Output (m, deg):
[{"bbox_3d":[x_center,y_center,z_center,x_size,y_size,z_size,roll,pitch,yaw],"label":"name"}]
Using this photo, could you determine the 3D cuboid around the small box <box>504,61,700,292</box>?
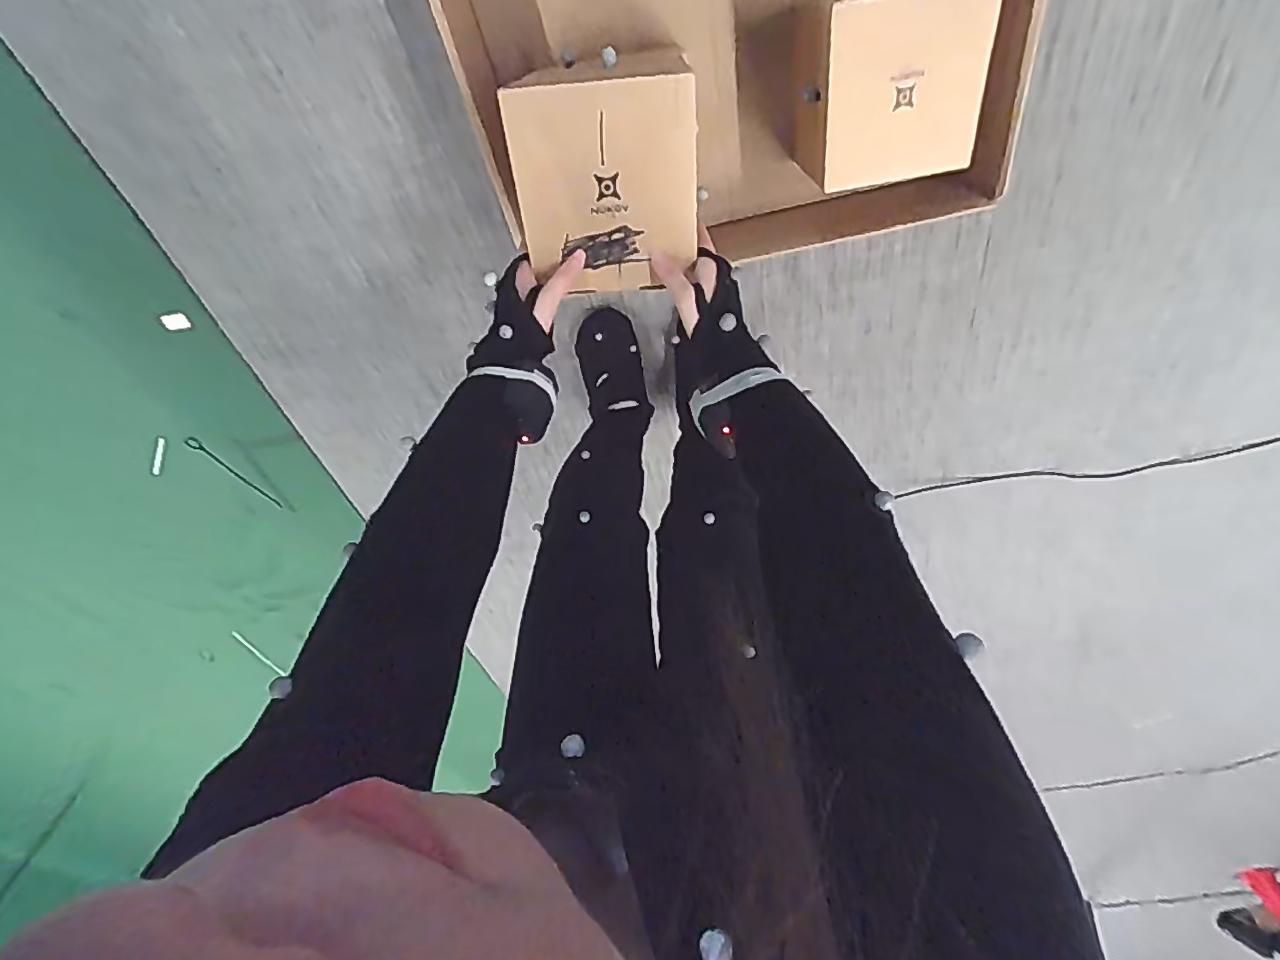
[{"bbox_3d":[-0.026,-0.313,0.557,0.168,0.176,0.179,-3,130,3],"label":"small box"}]
